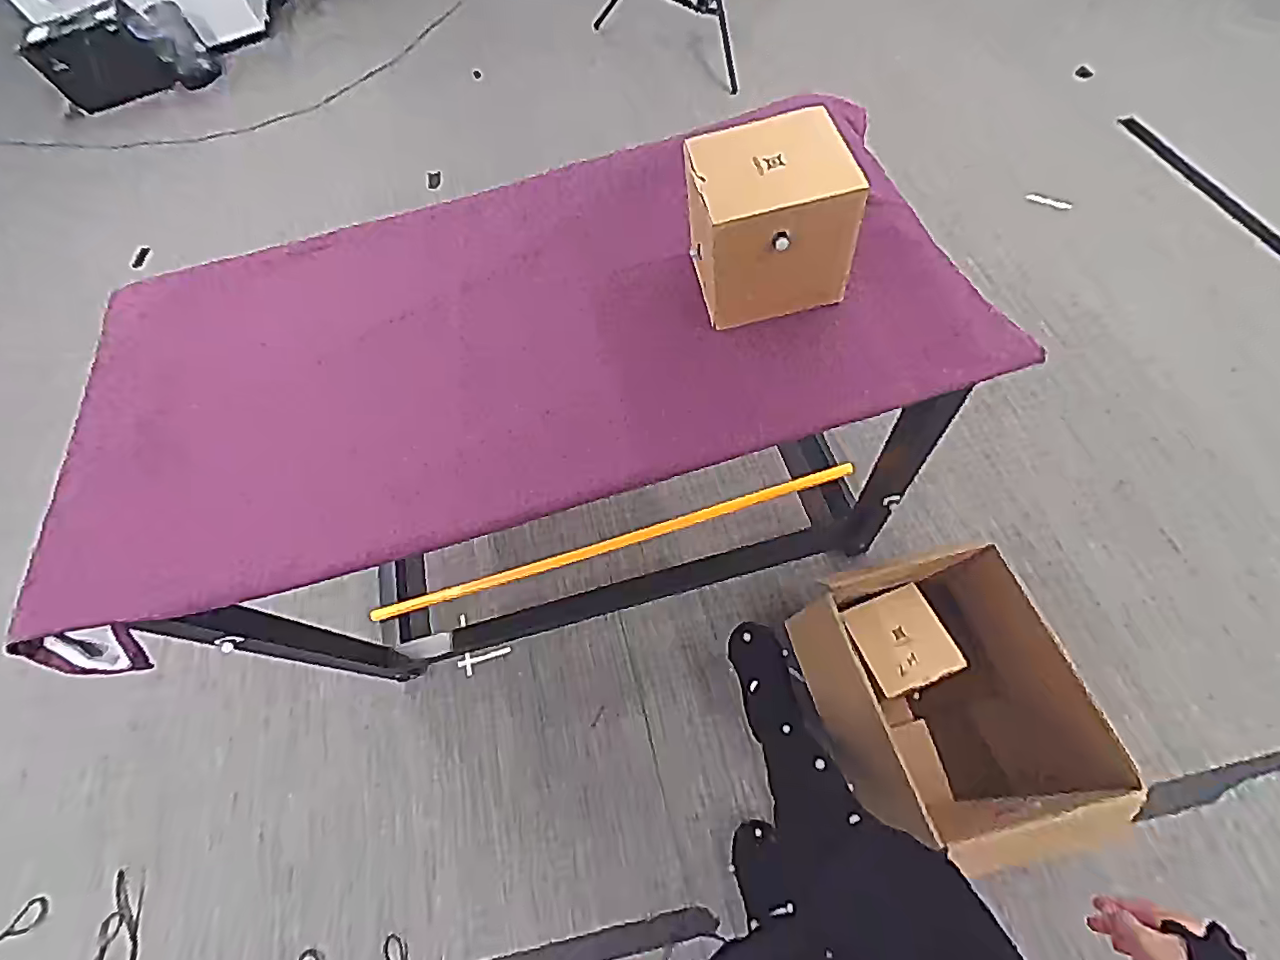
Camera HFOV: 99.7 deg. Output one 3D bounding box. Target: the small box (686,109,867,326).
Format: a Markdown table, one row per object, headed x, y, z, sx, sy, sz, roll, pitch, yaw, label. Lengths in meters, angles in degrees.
| x | y | z | sx | sy | sz | roll | pitch | yaw | label |
| --- | --- | --- | --- | --- | --- | --- | --- | --- | --- |
| 0.163 | -0.327 | 0.697 | 0.179 | 0.176 | 0.168 | -12 | 61 | 4 | small box |
